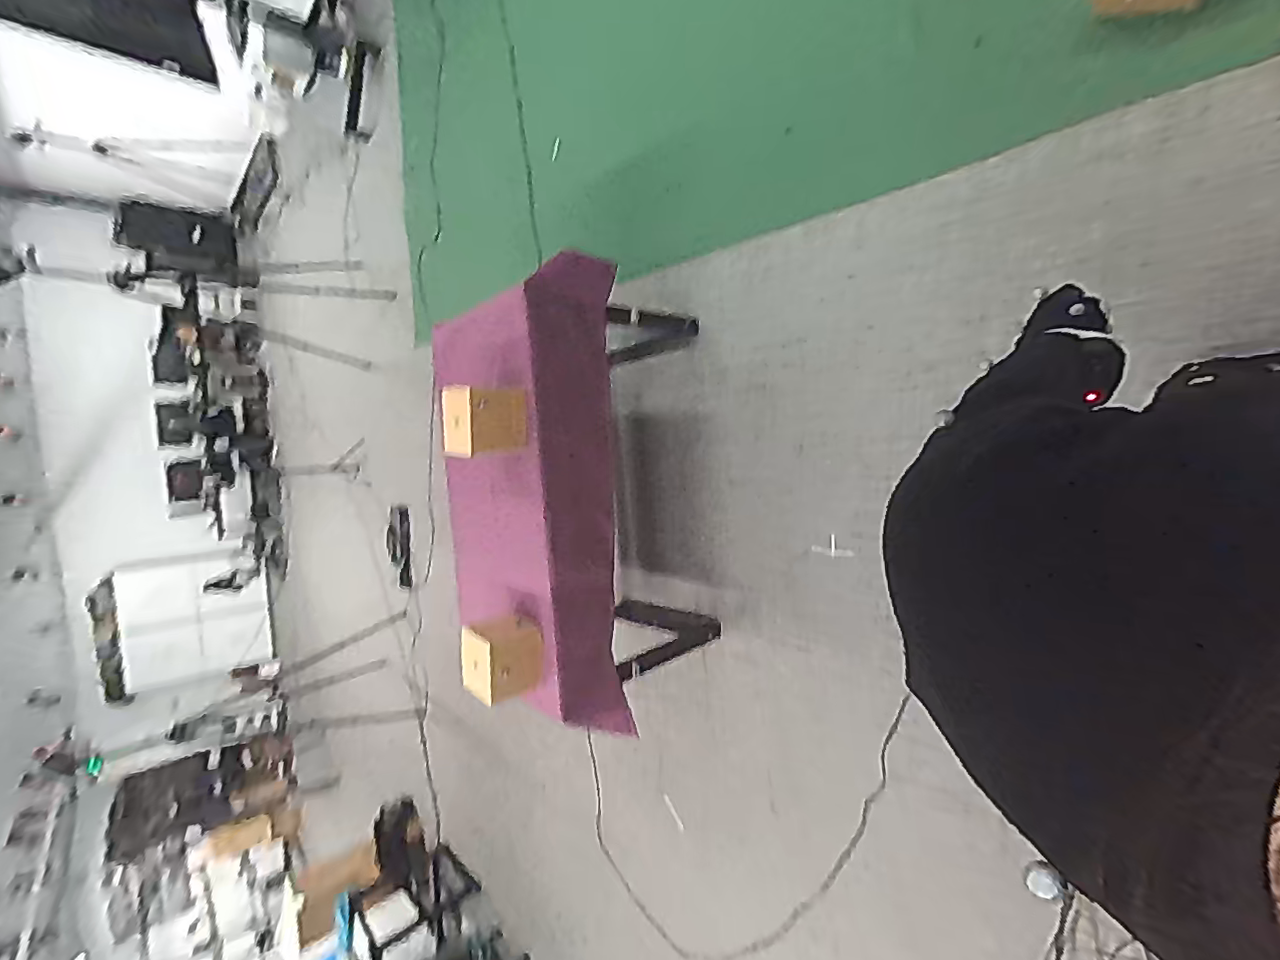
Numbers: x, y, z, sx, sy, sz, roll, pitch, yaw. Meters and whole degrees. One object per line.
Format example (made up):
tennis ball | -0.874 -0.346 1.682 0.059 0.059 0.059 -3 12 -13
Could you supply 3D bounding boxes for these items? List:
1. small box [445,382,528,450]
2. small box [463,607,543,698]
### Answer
small box | -0.421 -0.179 1.494 0.168 0.176 0.179 9 101 46
small box | -0.388 0.483 1.543 0.168 0.176 0.179 10 101 45
